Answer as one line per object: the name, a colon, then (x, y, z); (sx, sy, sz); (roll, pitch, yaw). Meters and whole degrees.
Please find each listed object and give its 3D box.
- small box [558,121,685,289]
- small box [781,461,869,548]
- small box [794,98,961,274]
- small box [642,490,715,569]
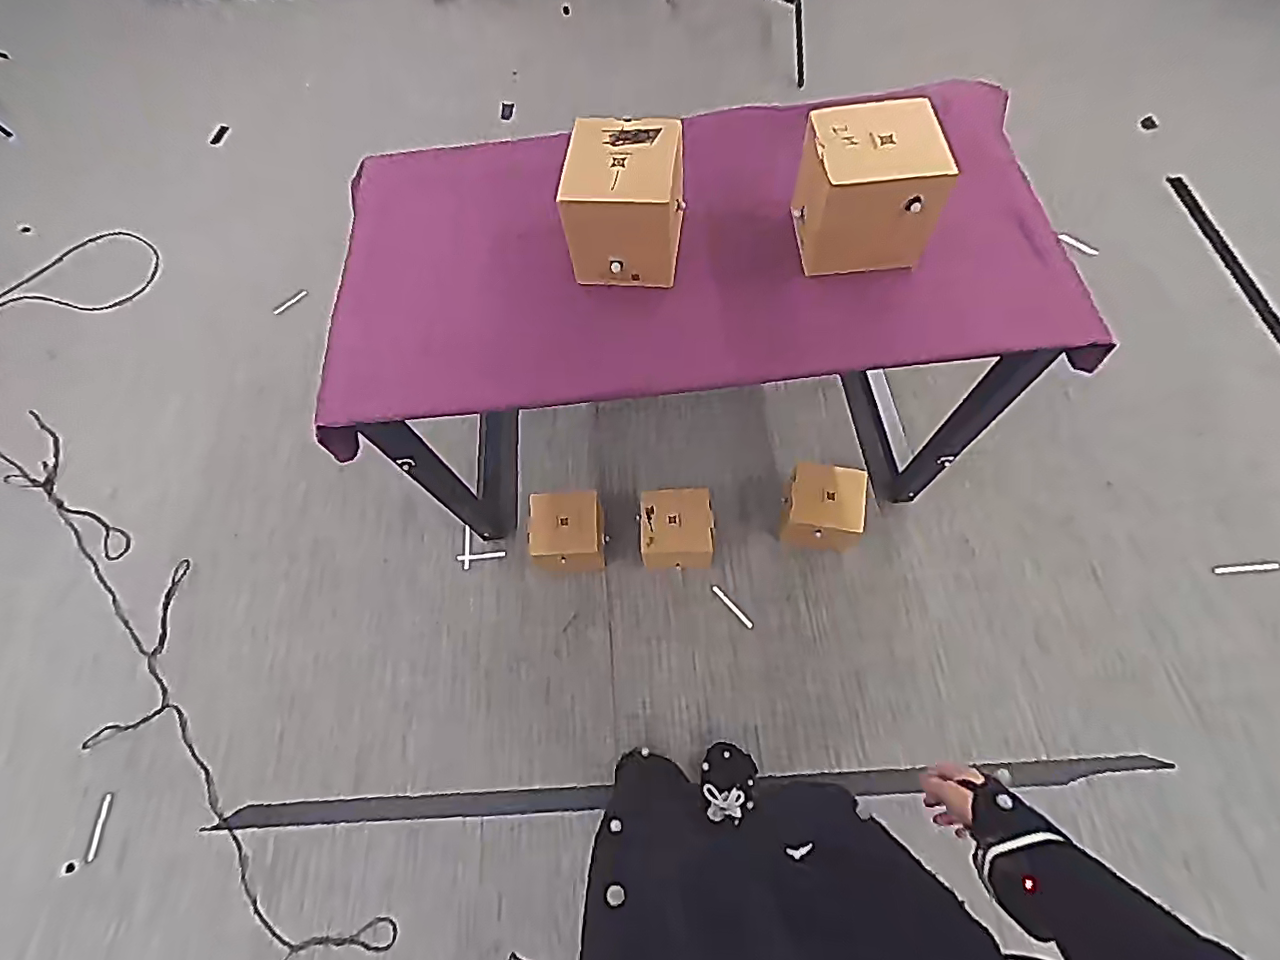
small box: (-0.020, -0.435, 0.864); (0.168, 0.176, 0.179); (5, 68, 8)
small box: (0.474, 0.070, 1.399); (0.179, 0.176, 0.168); (10, 69, 11)
small box: (0.349, -0.443, 0.833); (0.179, 0.176, 0.168); (-4, 66, 4)
small box: (0.098, 0.131, 1.406); (0.179, 0.176, 0.168); (-2, 67, 4)
